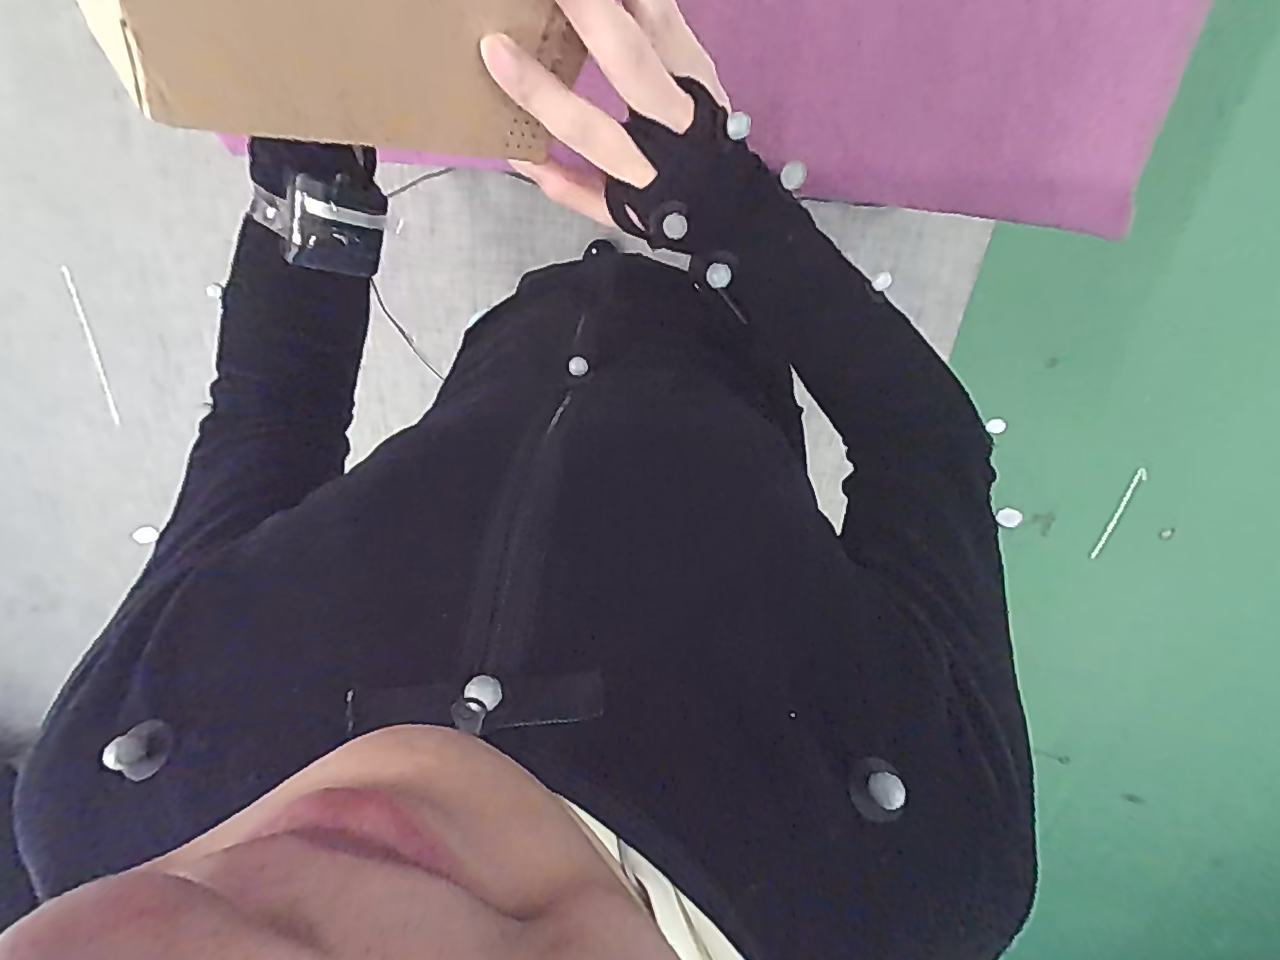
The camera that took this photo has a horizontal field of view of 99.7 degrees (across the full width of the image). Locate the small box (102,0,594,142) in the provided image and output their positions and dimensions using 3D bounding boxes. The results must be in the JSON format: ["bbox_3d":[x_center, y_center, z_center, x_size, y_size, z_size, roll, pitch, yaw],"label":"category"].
[{"bbox_3d":[-0.110,-0.255,0.192,0.179,0.176,0.168,59,140,8],"label":"small box"}]
